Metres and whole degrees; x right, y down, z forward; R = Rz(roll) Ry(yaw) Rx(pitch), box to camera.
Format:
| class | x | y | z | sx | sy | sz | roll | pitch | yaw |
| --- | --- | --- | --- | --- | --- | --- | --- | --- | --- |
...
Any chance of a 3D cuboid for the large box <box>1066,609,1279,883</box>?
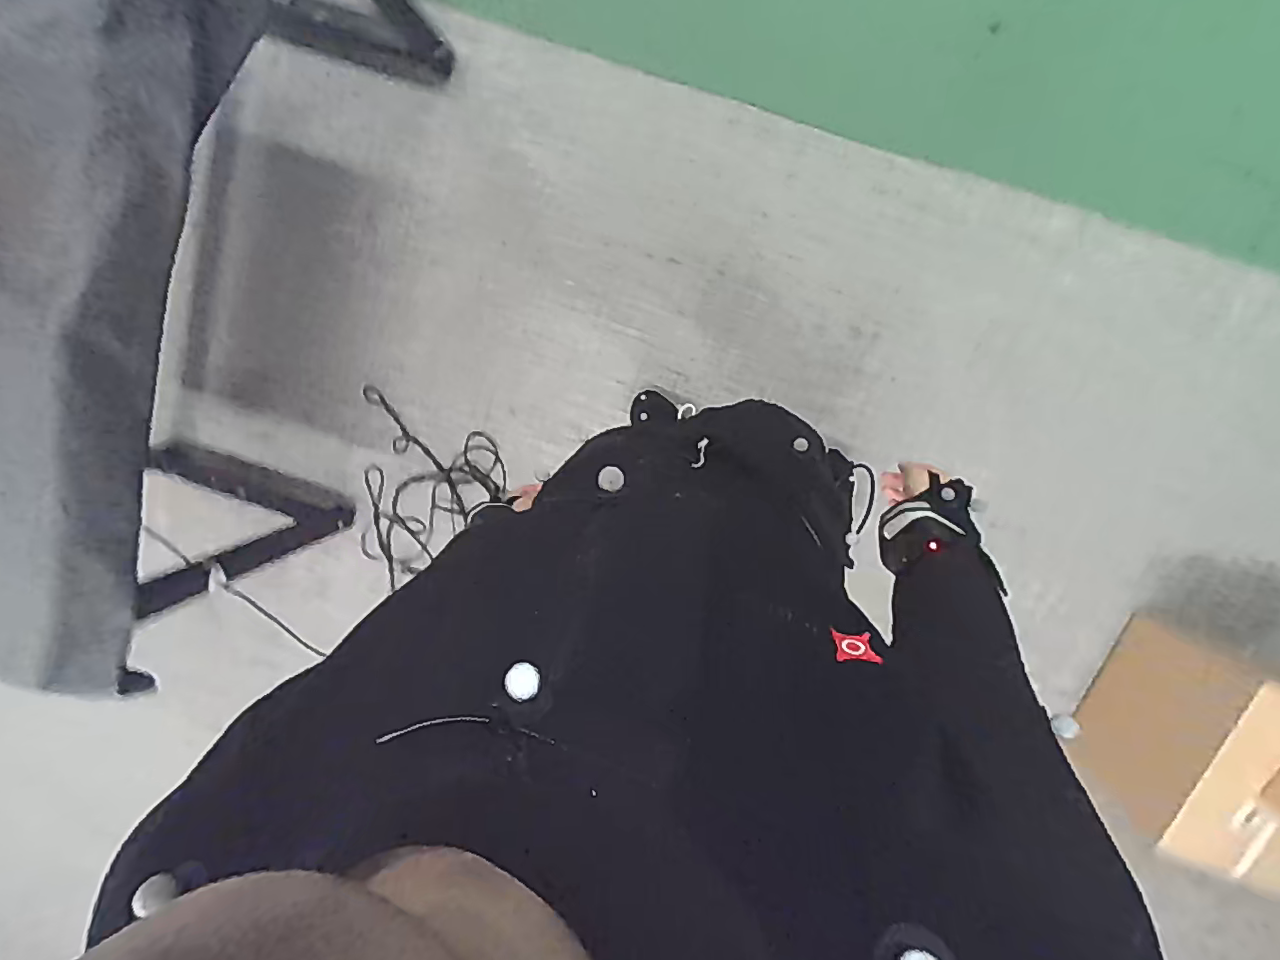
| class | x | y | z | sx | sy | sz | roll | pitch | yaw |
| --- | --- | --- | --- | --- | --- | --- | --- | --- | --- |
| large box | 1.260 | 0.559 | 1.180 | 0.320 | 0.320 | 0.408 | 18 | 104 | 3 |
